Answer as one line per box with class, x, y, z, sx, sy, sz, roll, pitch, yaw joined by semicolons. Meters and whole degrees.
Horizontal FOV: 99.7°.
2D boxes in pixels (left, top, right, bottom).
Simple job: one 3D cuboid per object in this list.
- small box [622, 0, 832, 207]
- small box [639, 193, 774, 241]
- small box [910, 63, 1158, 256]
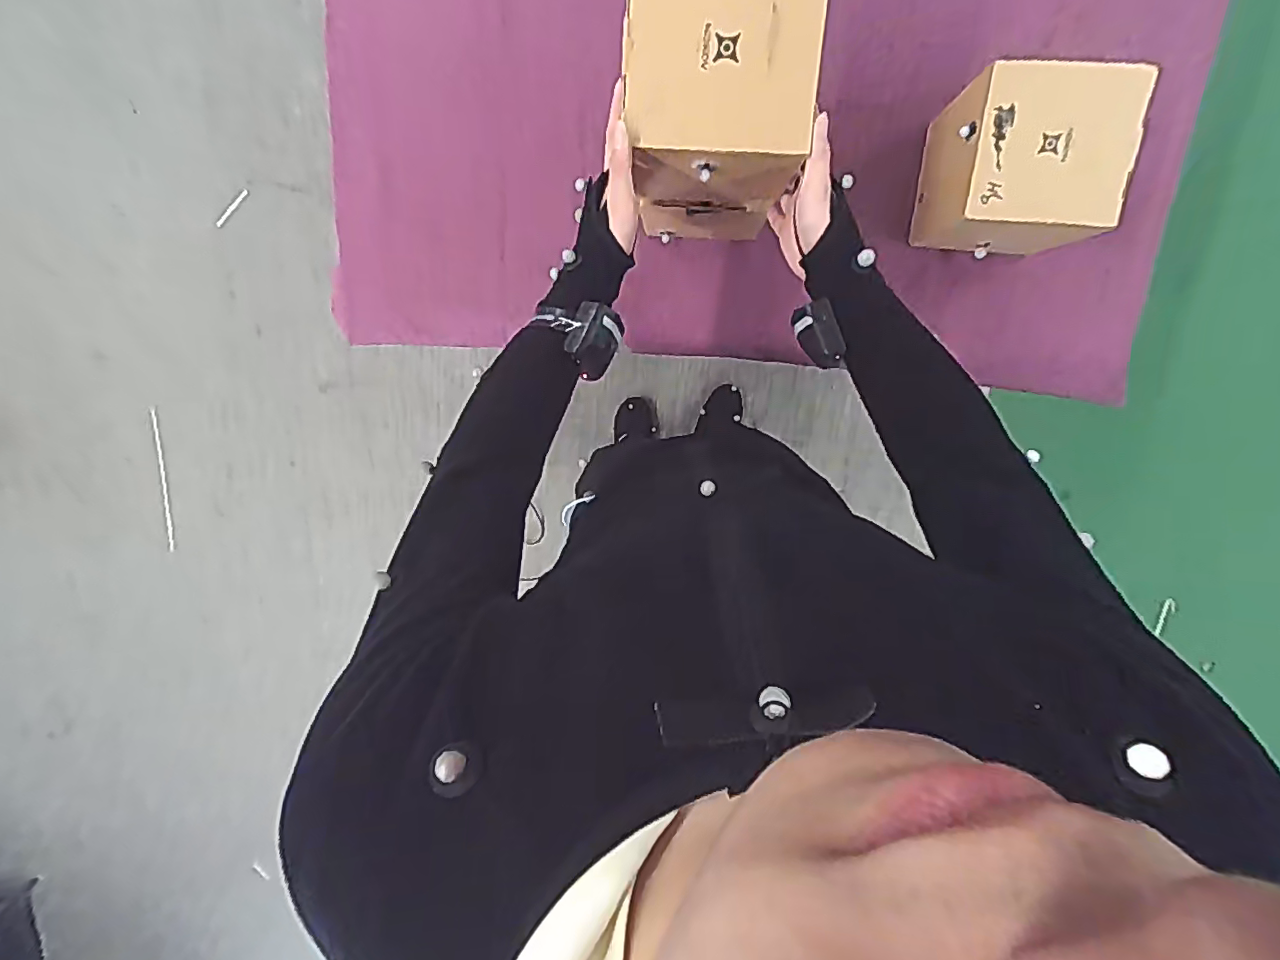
small box;0.081;-0.391;0.551;0.179;0.176;0.168;4;103;2
small box;0.091;-0.425;0.711;0.168;0.176;0.179;4;102;3
small box;0.480;-0.390;0.690;0.179;0.176;0.168;6;103;3
